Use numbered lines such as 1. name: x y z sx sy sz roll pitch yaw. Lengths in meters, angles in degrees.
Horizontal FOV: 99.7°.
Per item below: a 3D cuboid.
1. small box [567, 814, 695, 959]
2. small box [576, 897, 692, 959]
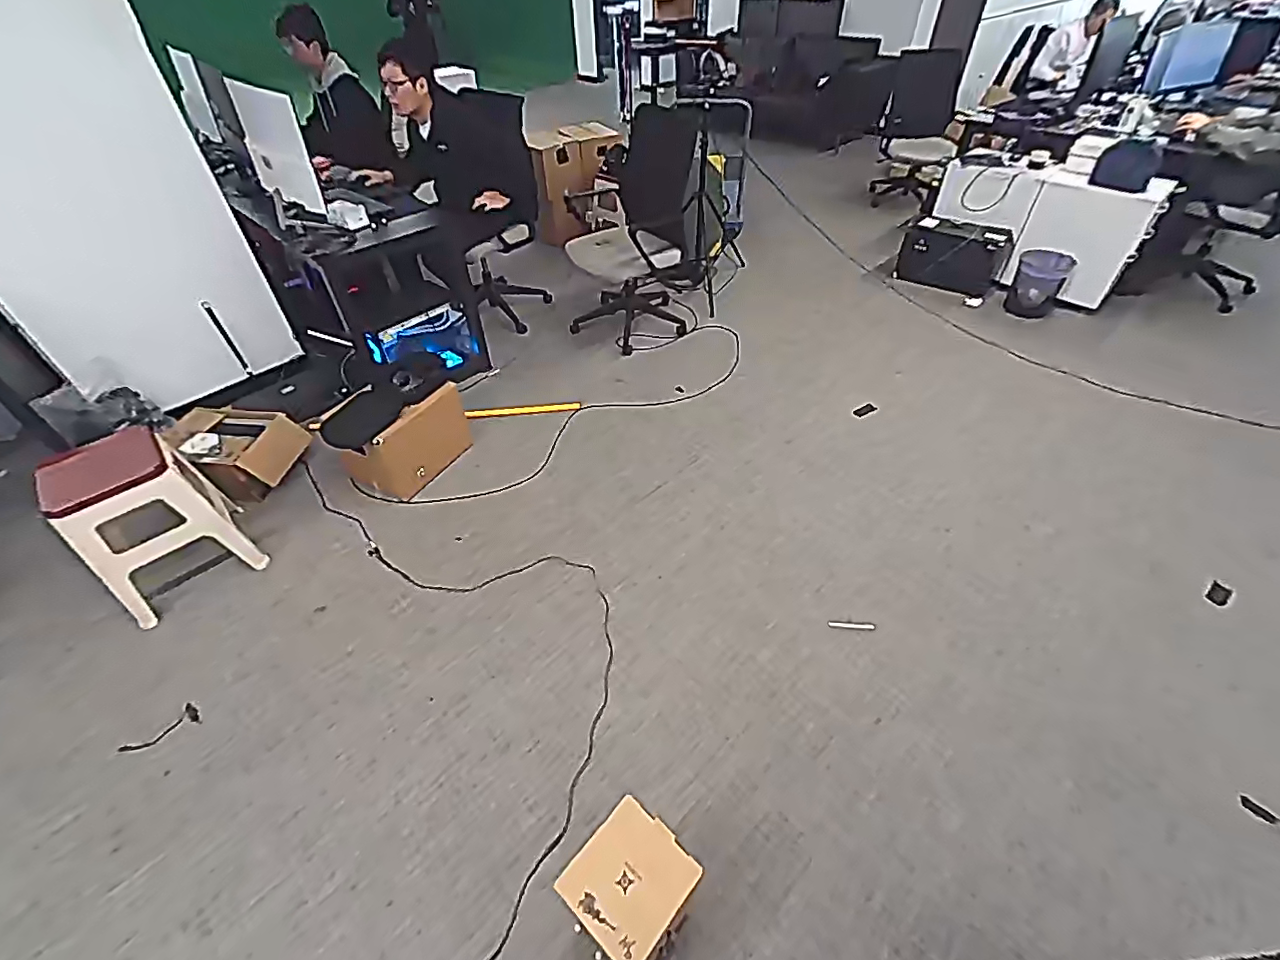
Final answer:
1. small box: -0.013 0.785 1.018 0.168 0.176 0.179 29 51 26
2. small box: -0.012 0.905 1.126 0.168 0.176 0.179 32 54 29
